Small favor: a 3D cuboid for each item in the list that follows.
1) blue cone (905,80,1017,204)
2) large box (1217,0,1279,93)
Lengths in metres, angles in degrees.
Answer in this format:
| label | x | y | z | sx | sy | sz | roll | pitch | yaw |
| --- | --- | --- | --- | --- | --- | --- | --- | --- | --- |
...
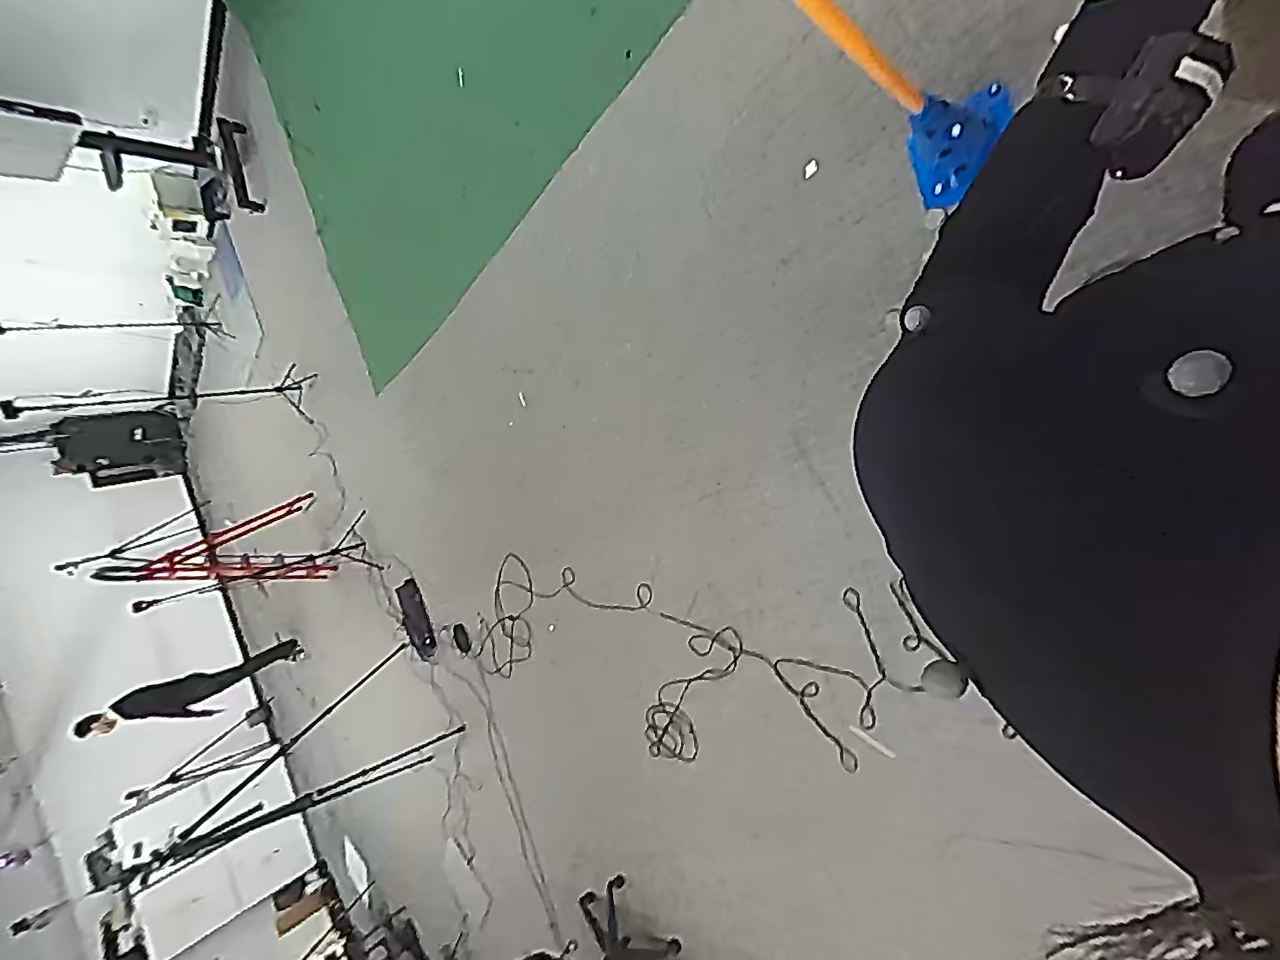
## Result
| label | x | y | z | sx | sy | sz | roll | pitch | yaw |
| --- | --- | --- | --- | --- | --- | --- | --- | --- | --- |
| blue cone | 0.610 | -0.709 | 1.087 | 0.193 | 0.380 | 0.192 | -14 | 91 | 43 |
| large box | 0.606 | -0.355 | 0.224 | 0.408 | 0.320 | 0.320 | 37 | 128 | 29 |
